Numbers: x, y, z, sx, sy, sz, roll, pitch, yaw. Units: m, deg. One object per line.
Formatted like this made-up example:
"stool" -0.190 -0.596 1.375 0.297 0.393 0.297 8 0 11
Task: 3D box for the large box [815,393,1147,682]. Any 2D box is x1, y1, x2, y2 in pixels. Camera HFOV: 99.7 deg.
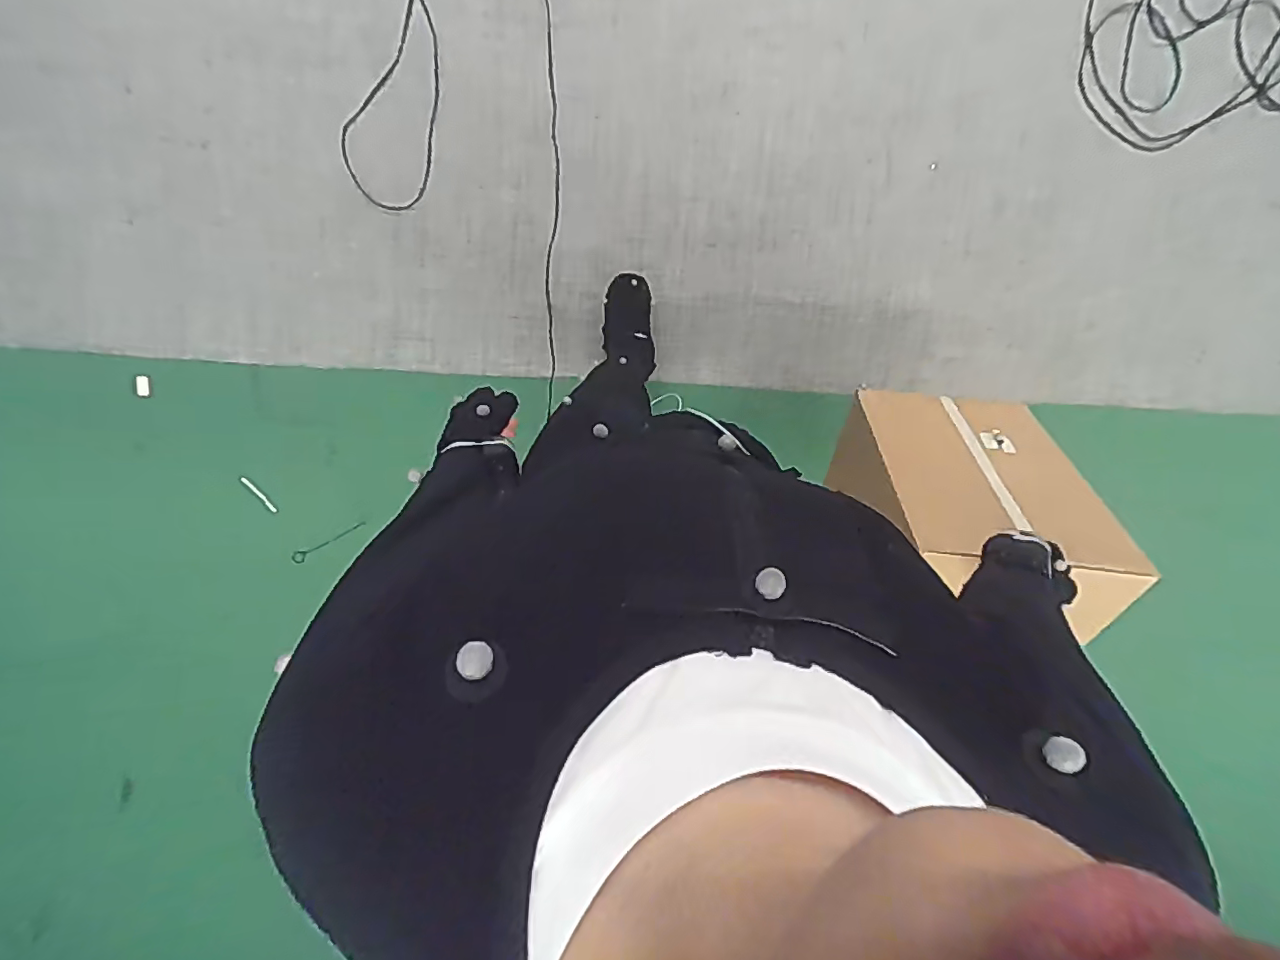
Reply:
"large box" 0.530 0.091 0.962 0.320 0.408 0.320 7 130 1
